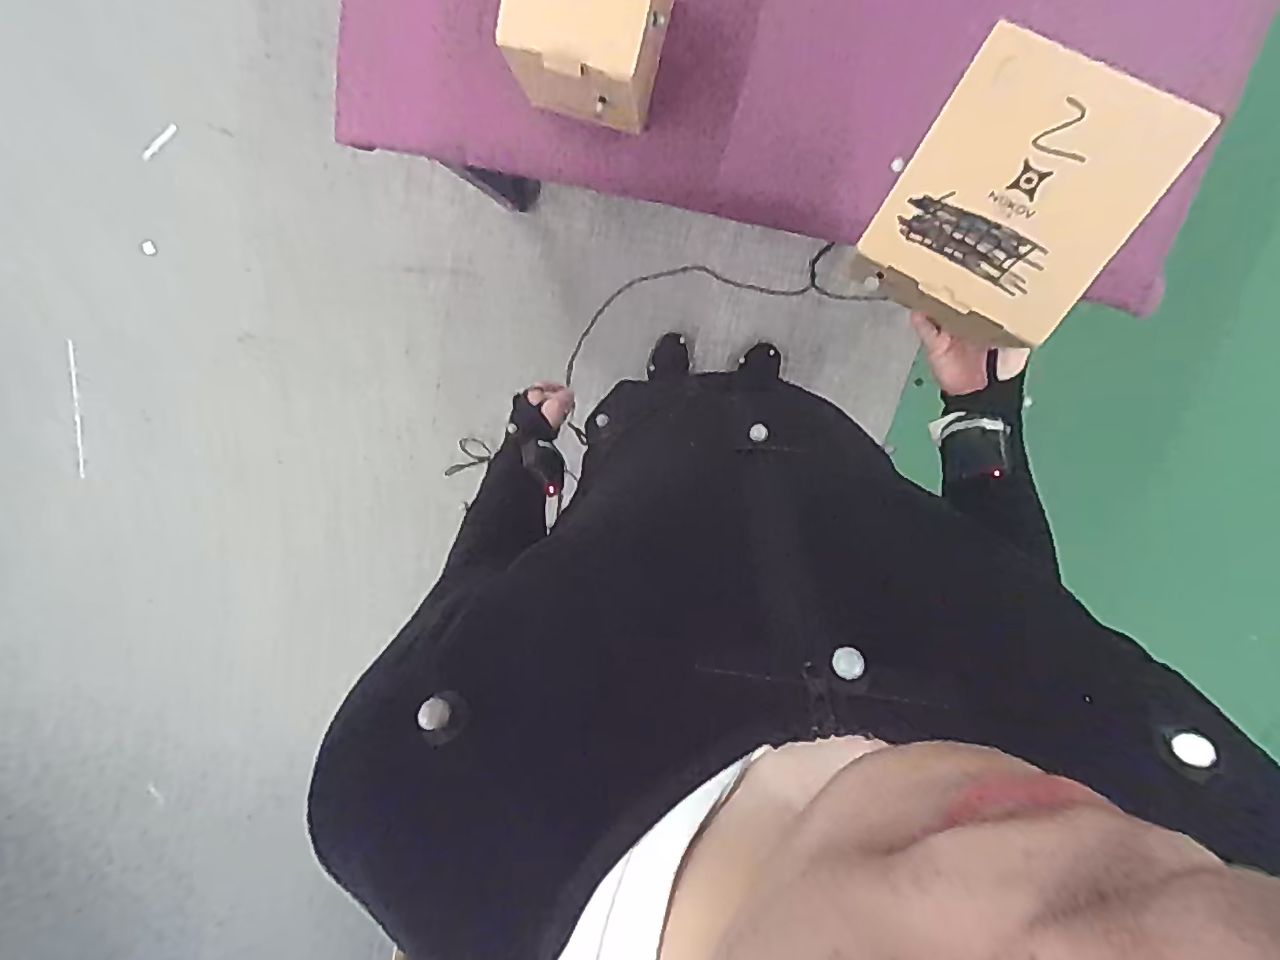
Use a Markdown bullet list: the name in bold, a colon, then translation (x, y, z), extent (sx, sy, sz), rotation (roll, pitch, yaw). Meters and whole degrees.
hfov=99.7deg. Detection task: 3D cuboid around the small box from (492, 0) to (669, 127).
- **small box**: translation (-0.062, -0.577, 0.670), extent (0.168, 0.176, 0.179), rotation (16, 104, 0)
